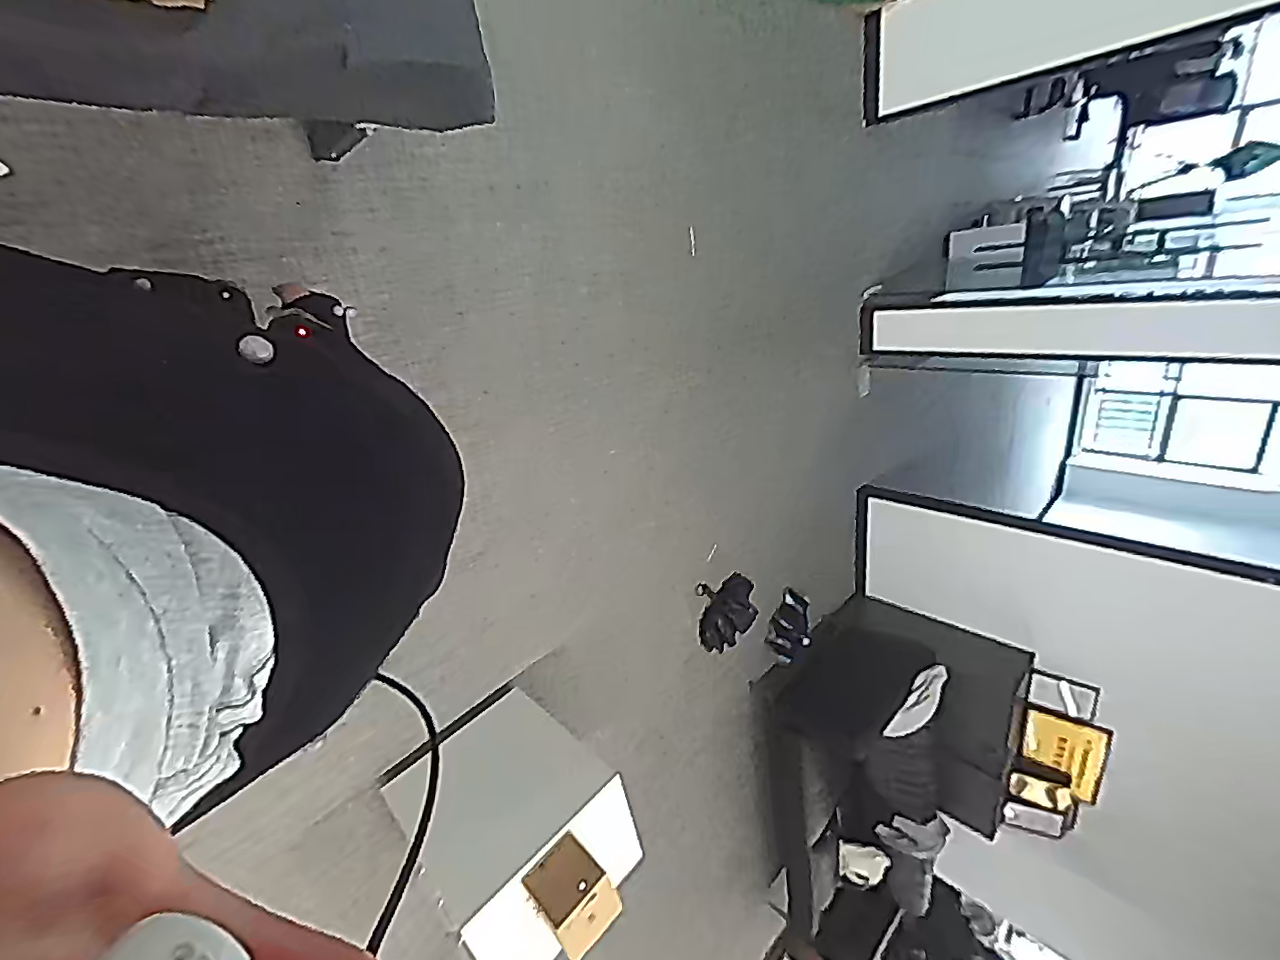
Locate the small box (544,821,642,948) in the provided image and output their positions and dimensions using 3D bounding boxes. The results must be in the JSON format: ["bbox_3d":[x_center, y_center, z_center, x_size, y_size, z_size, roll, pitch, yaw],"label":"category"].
[{"bbox_3d":[-0.123,1.041,1.406,0.168,0.176,0.179,-35,124,-33],"label":"small box"}]
